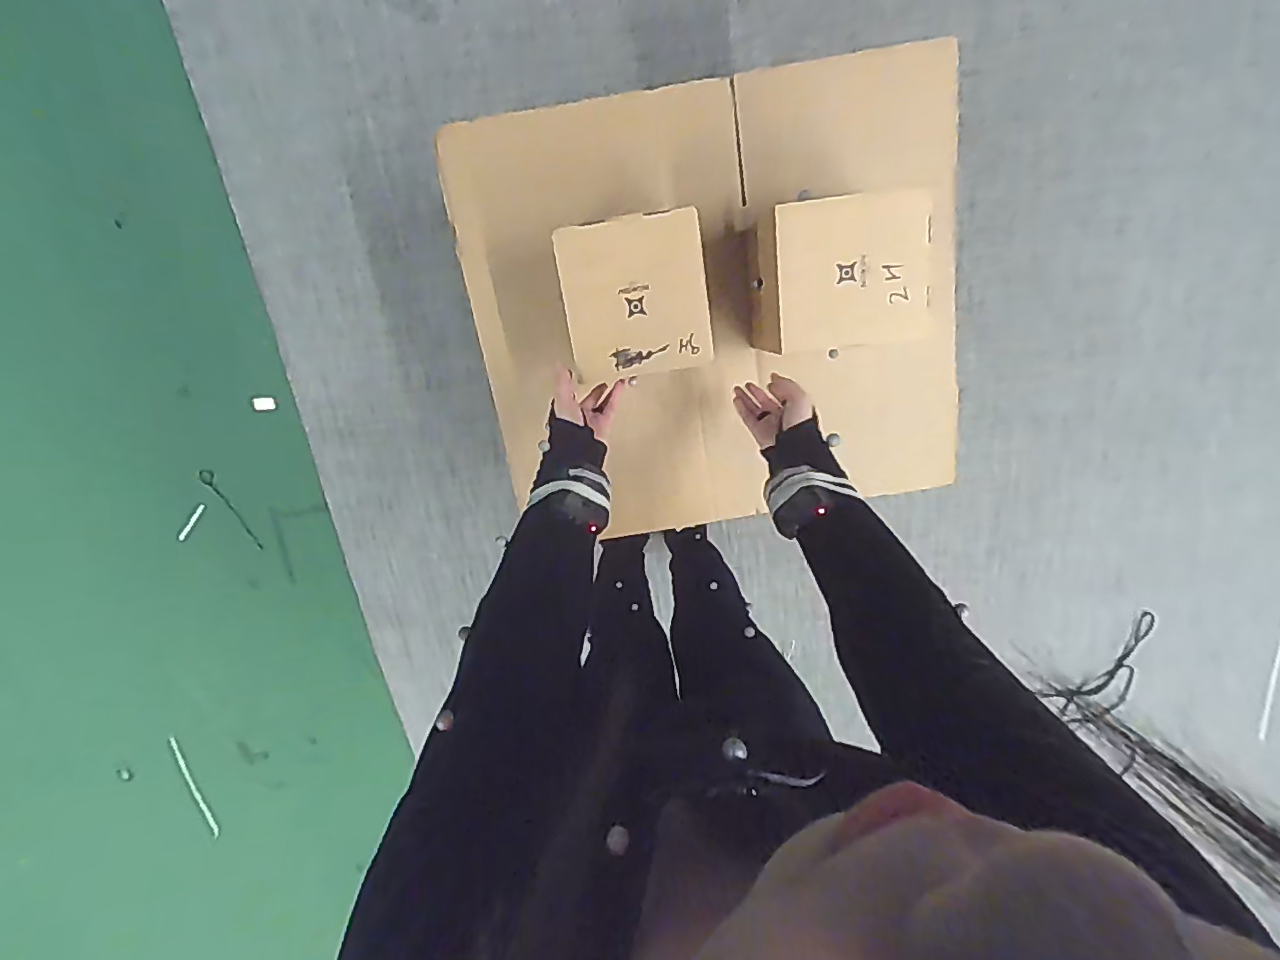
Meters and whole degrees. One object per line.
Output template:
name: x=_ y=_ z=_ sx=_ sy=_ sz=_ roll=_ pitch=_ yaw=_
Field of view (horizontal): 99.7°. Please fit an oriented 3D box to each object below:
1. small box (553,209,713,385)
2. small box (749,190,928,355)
small box: x=-0.007 y=-0.225 z=0.695 sx=0.168 sy=0.176 sz=0.179 roll=-9 pitch=105 yaw=2
small box: x=0.239 y=-0.253 z=0.693 sx=0.179 sy=0.176 sz=0.168 roll=-6 pitch=106 yaw=2
